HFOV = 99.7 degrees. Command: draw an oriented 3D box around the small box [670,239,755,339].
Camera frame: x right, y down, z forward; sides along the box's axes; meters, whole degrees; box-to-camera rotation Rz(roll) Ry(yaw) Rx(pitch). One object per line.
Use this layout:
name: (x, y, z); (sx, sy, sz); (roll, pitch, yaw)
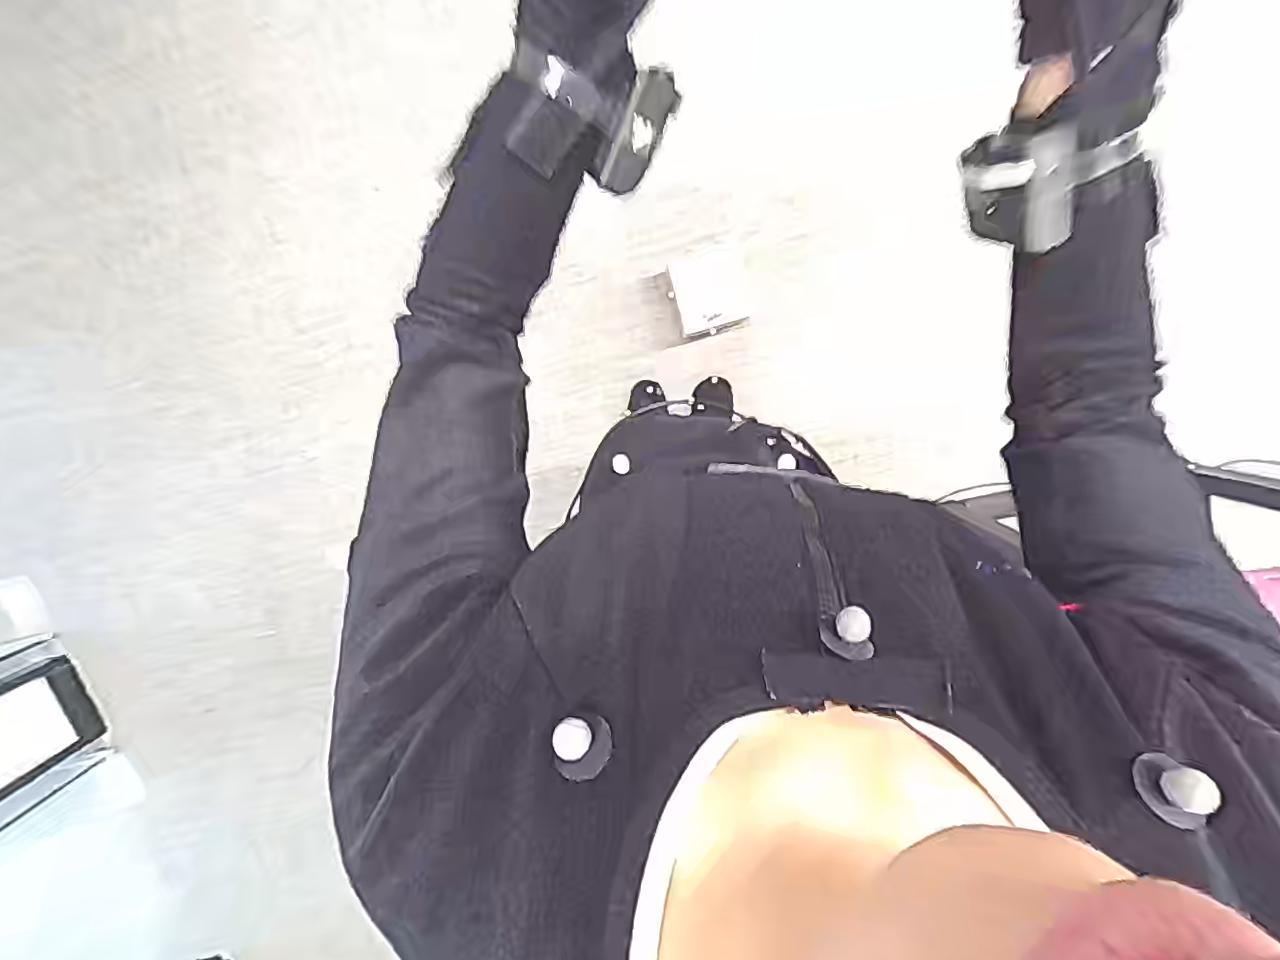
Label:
small box: (0.168, -0.449, 1.301); (0.168, 0.176, 0.179); (-14, 100, 6)
